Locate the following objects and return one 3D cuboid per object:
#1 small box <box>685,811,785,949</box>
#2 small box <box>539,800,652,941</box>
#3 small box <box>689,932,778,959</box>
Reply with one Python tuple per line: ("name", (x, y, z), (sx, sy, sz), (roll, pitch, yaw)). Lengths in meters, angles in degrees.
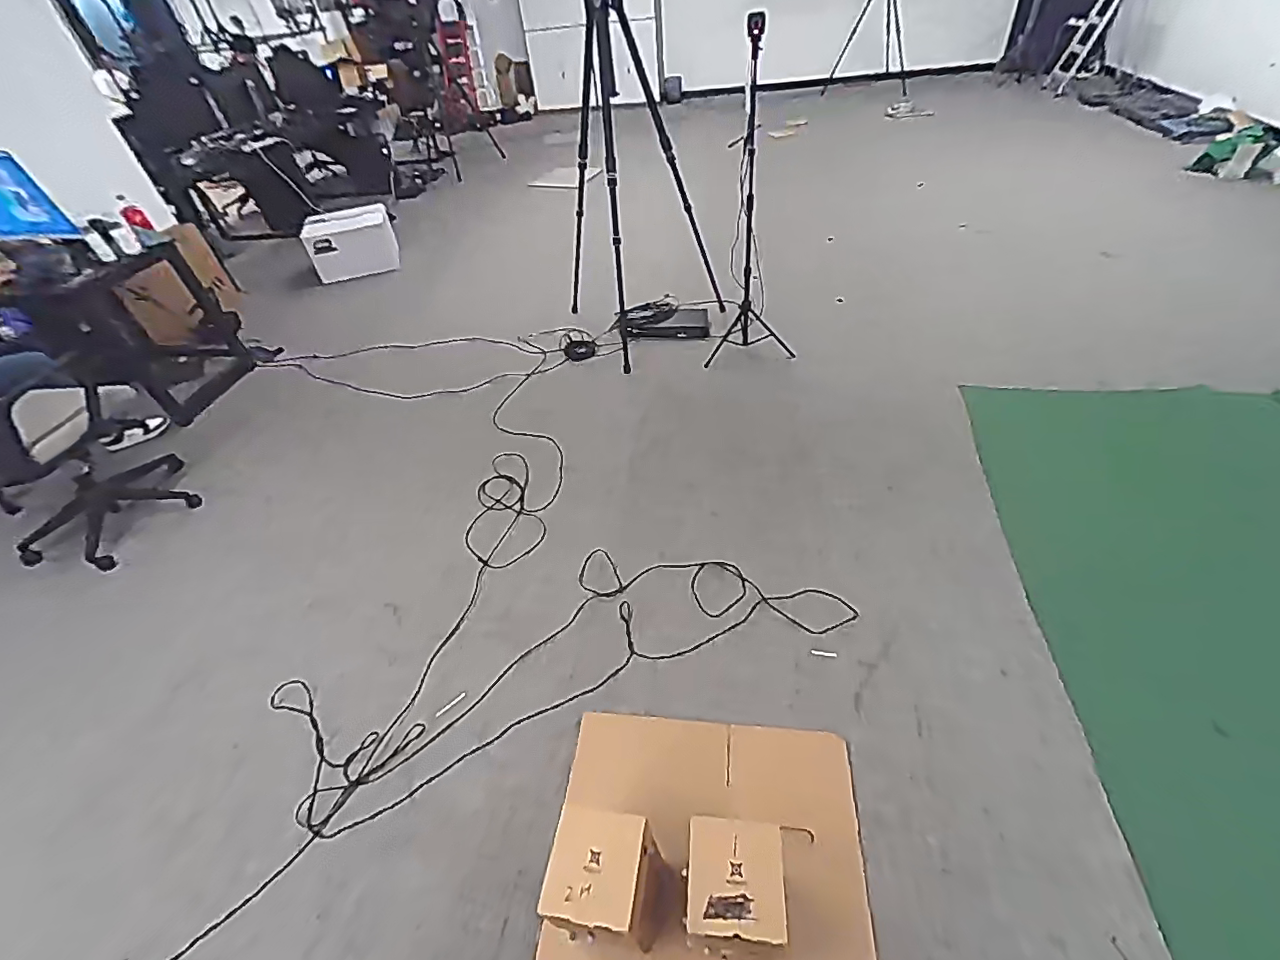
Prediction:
("small box", (0.174, 0.739, 0.998), (0.168, 0.176, 0.179), (0, 44, 8))
("small box", (-0.073, 0.742, 1.028), (0.168, 0.176, 0.179), (2, 45, 12))
("small box", (0.188, 0.858, 1.111), (0.168, 0.176, 0.179), (0, 45, 8))
